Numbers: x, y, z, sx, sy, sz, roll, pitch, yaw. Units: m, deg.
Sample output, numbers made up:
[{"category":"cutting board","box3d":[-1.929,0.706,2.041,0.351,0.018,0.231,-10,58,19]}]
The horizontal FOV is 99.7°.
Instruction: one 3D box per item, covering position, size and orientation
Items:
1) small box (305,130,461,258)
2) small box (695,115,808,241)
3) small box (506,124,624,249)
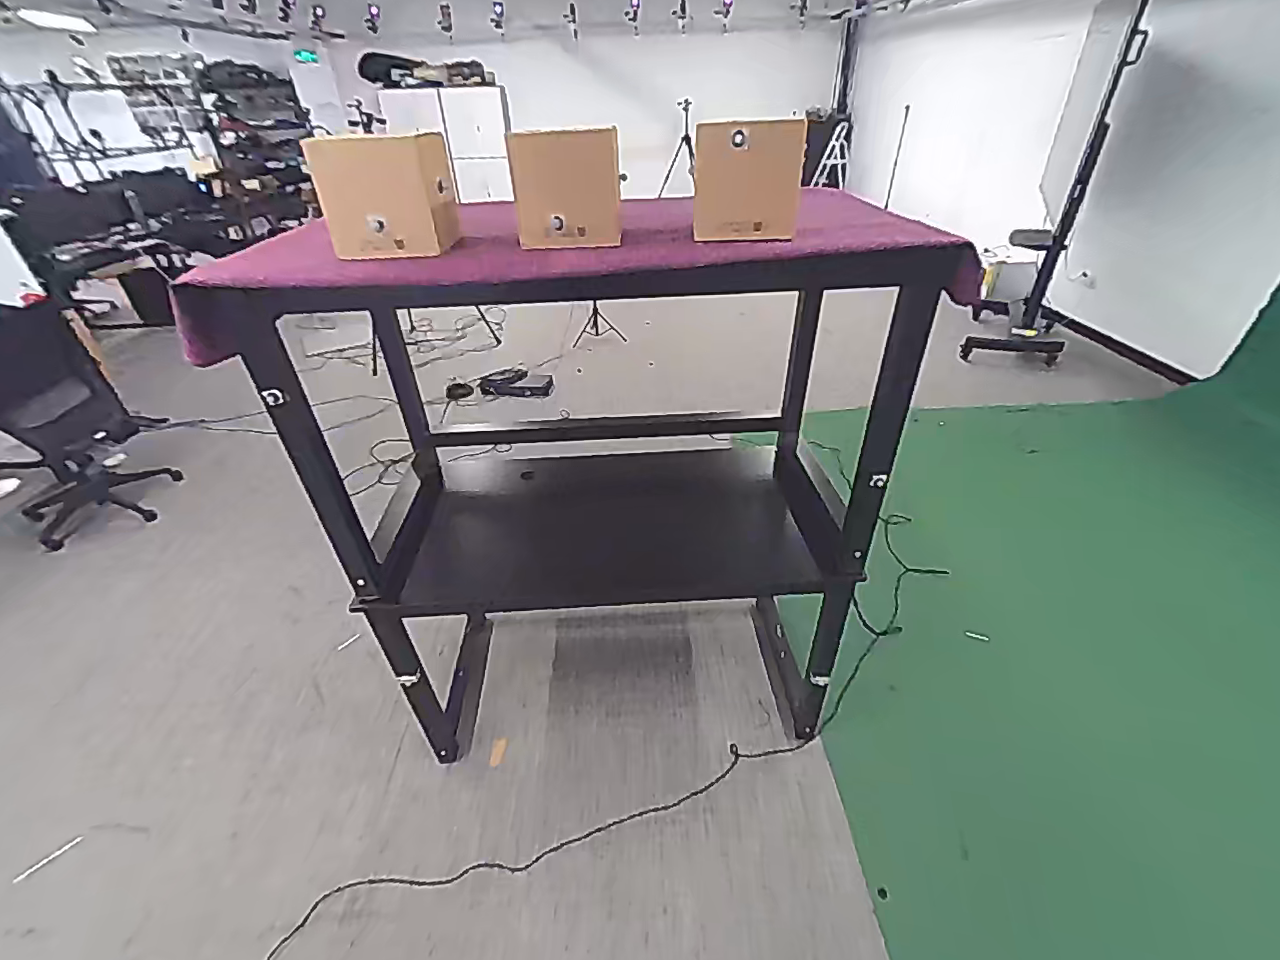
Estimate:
[{"category":"small box","box3d":[-0.405,-0.474,0.892,0.168,0.176,0.179,-3,35,-2]},{"category":"small box","box3d":[0.179,-0.510,0.914,0.168,0.176,0.179,1,34,7]},{"category":"small box","box3d":[-0.116,-0.498,0.915,0.168,0.176,0.179,-2,35,2]}]
